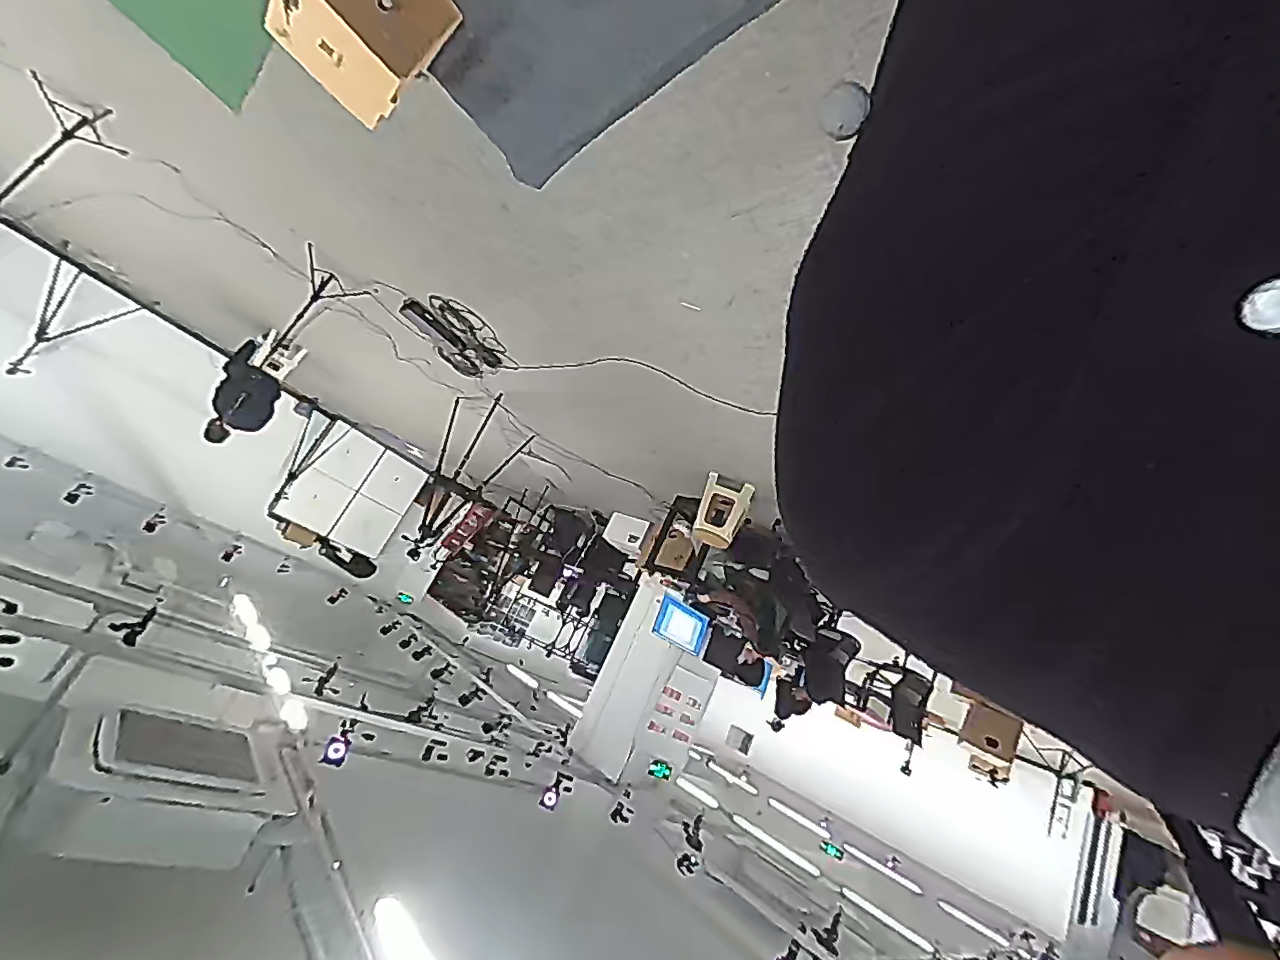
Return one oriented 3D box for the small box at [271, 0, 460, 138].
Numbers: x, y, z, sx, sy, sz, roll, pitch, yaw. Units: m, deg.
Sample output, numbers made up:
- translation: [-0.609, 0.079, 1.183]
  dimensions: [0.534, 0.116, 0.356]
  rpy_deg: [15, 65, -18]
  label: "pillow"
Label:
- translation: [-0.404, -0.673, 0.809]
  dimensions: [0.168, 0.176, 0.179]
  rpy_deg: [3, 152, 49]
  label: "small box"
